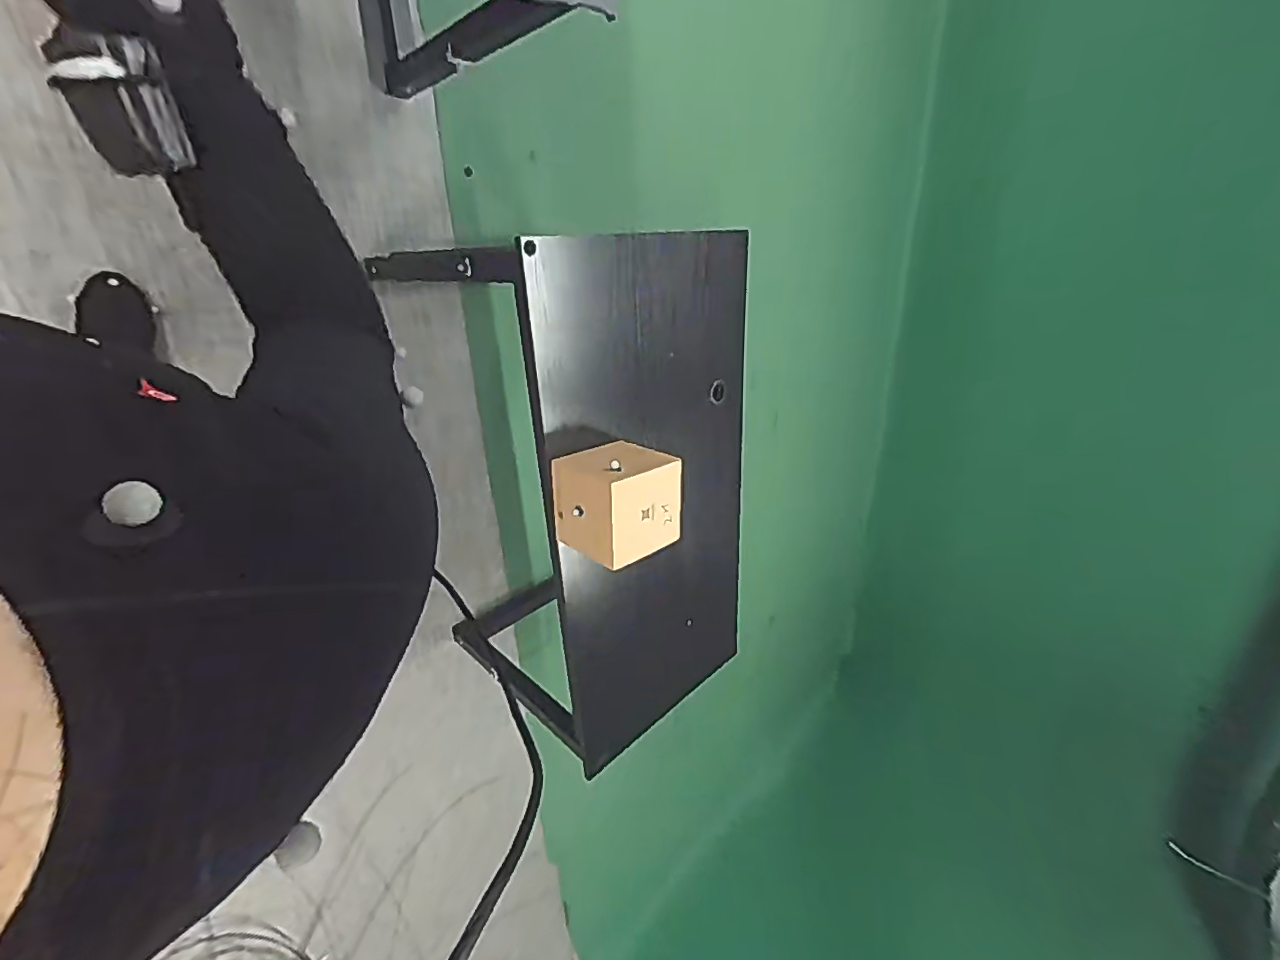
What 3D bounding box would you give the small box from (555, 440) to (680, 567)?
[{"bbox_3d":[-0.046,0.035,1.006,0.179,0.176,0.168,-19,119,-40],"label":"small box"}]
